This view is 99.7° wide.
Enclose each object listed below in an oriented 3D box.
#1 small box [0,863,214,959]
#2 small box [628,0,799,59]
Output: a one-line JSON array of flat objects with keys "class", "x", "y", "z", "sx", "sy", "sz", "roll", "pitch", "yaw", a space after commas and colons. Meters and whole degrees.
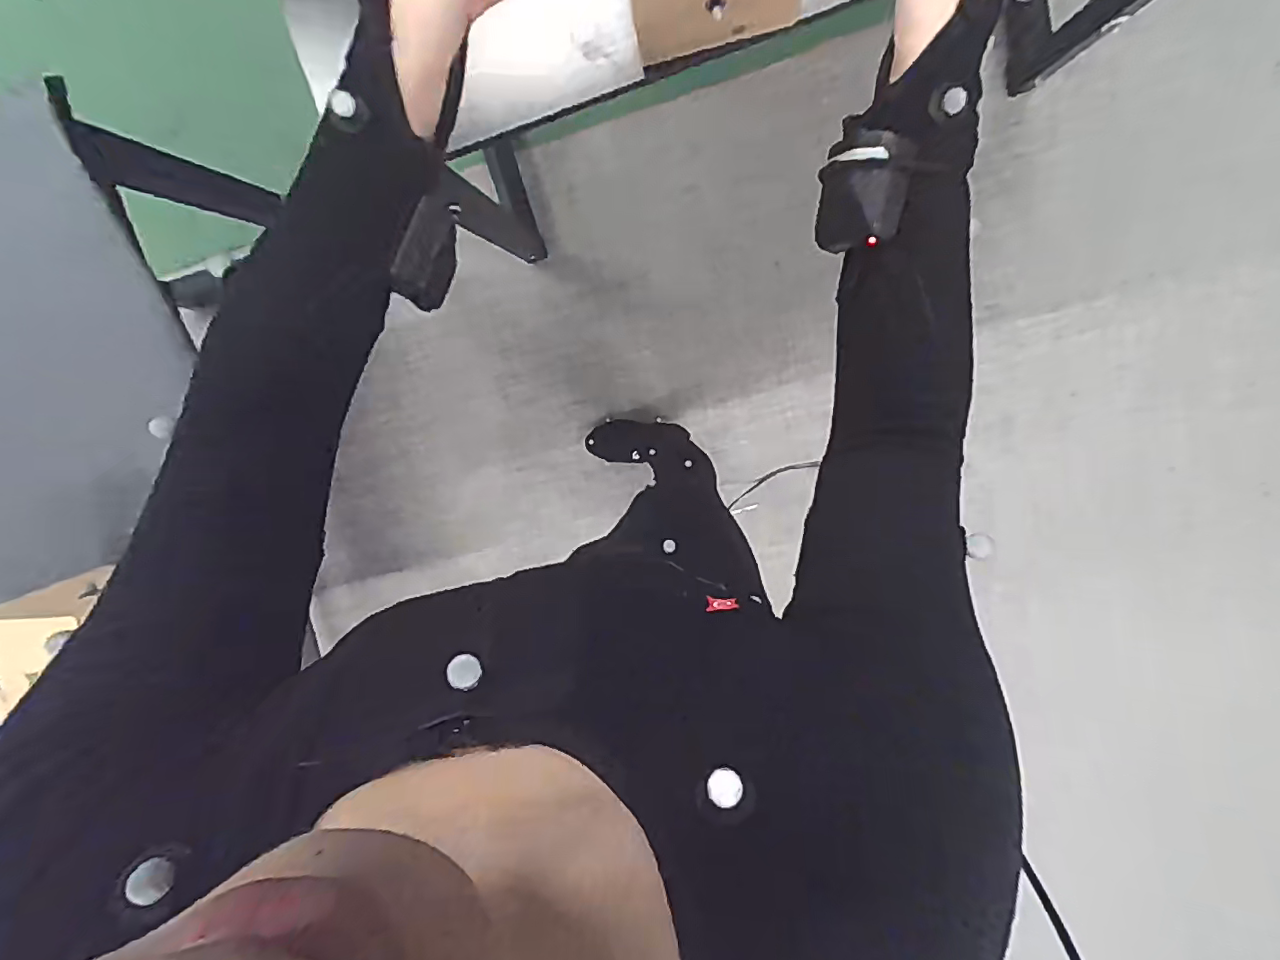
[{"class": "small box", "x": -0.660, "y": 0.598, "z": 0.642, "sx": 0.179, "sy": 0.176, "sz": 0.168, "roll": -18, "pitch": 100, "yaw": 12}, {"class": "small box", "x": 0.060, "y": -0.521, "z": 0.485, "sx": 0.168, "sy": 0.176, "sz": 0.179, "roll": -11, "pitch": 102, "yaw": 6}]
